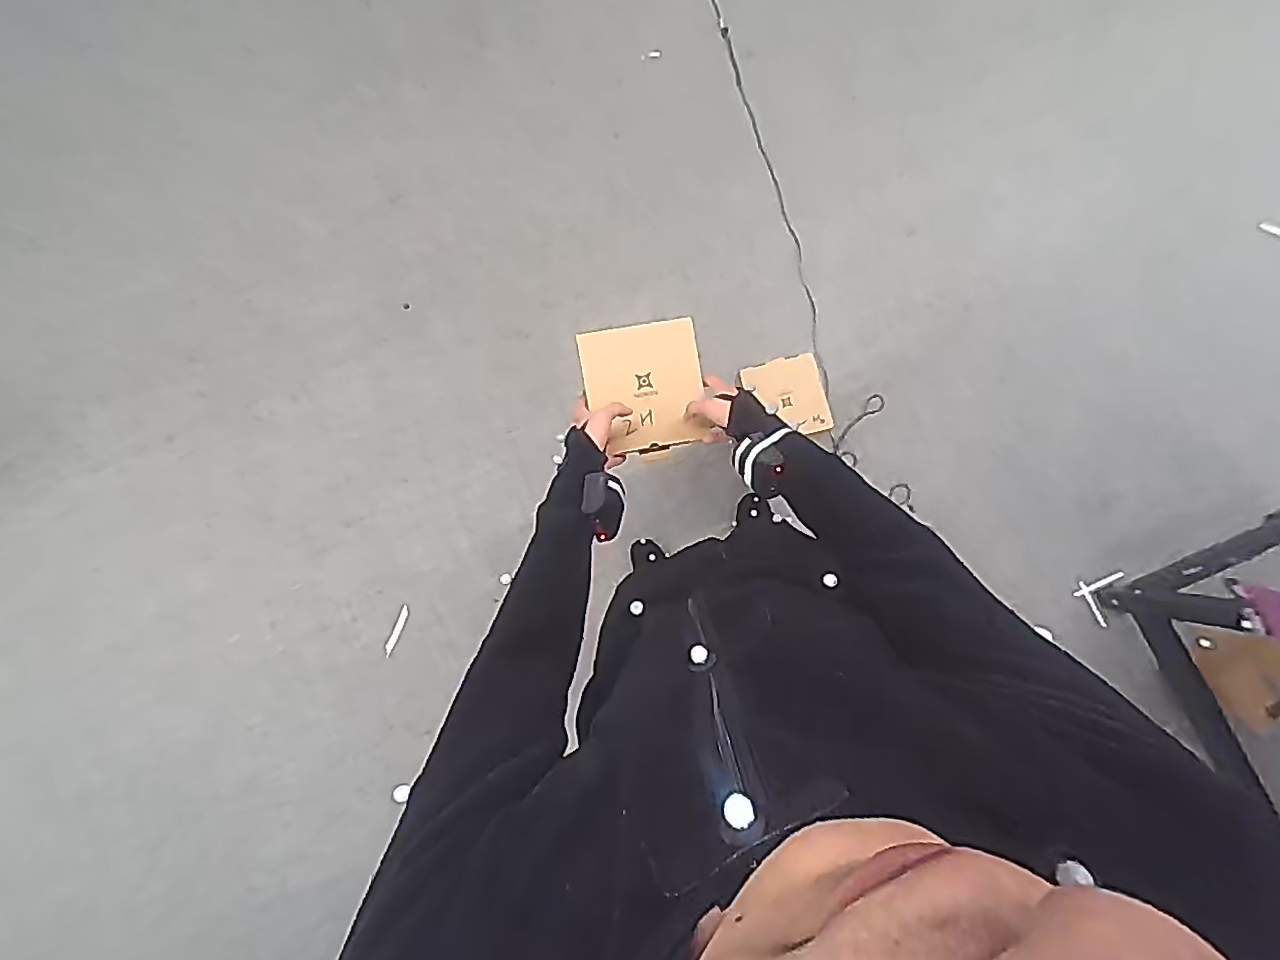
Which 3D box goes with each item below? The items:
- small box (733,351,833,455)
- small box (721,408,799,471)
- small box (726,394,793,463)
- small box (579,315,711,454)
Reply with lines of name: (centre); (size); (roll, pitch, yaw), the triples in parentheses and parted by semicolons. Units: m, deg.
small box: (0.317, -0.170, 1.241); (0.168, 0.176, 0.179); (-14, 82, 3)
small box: (0.342, -0.140, 1.565); (0.168, 0.176, 0.179); (-23, 83, 2)
small box: (0.331, -0.155, 1.404); (0.179, 0.176, 0.168); (-21, 83, 2)
small box: (0.001, -0.137, 0.834); (0.168, 0.176, 0.179); (-10, 94, -3)
